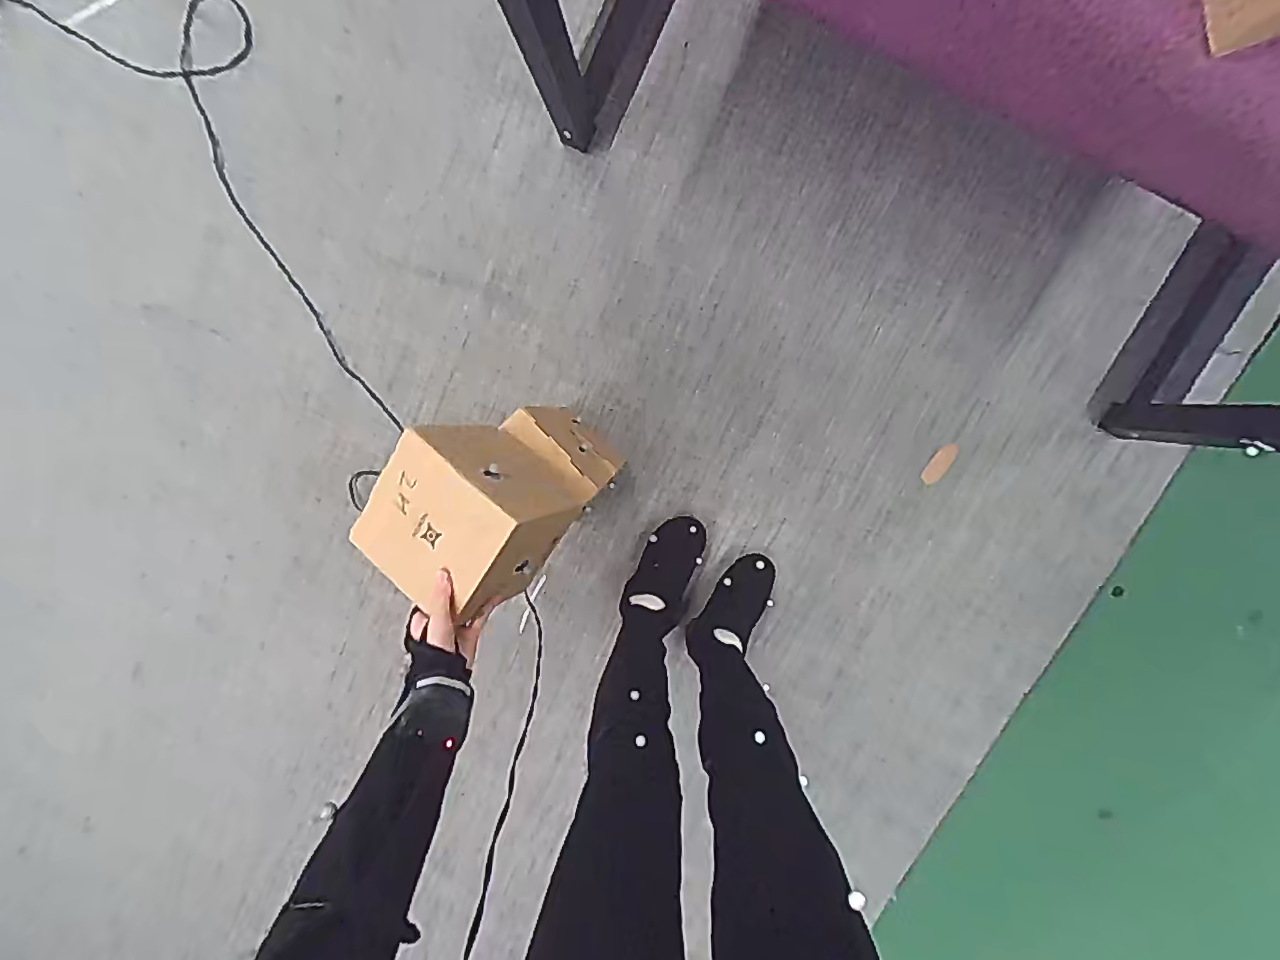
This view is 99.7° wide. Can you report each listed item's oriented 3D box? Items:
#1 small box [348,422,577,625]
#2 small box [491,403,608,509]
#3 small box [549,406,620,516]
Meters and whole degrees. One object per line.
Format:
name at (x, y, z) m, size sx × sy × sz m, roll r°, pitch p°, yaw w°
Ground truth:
small box at (-0.209, 0.044, 0.678) m, size 0.179 × 0.176 × 0.168 m, roll 42°, pitch 103°, yaw 11°
small box at (-0.171, -0.003, 0.858) m, size 0.179 × 0.176 × 0.168 m, roll -41°, pitch 92°, yaw 8°
small box at (-0.152, -0.024, 1.017) m, size 0.168 × 0.176 × 0.179 m, roll 42°, pitch 100°, yaw -3°
